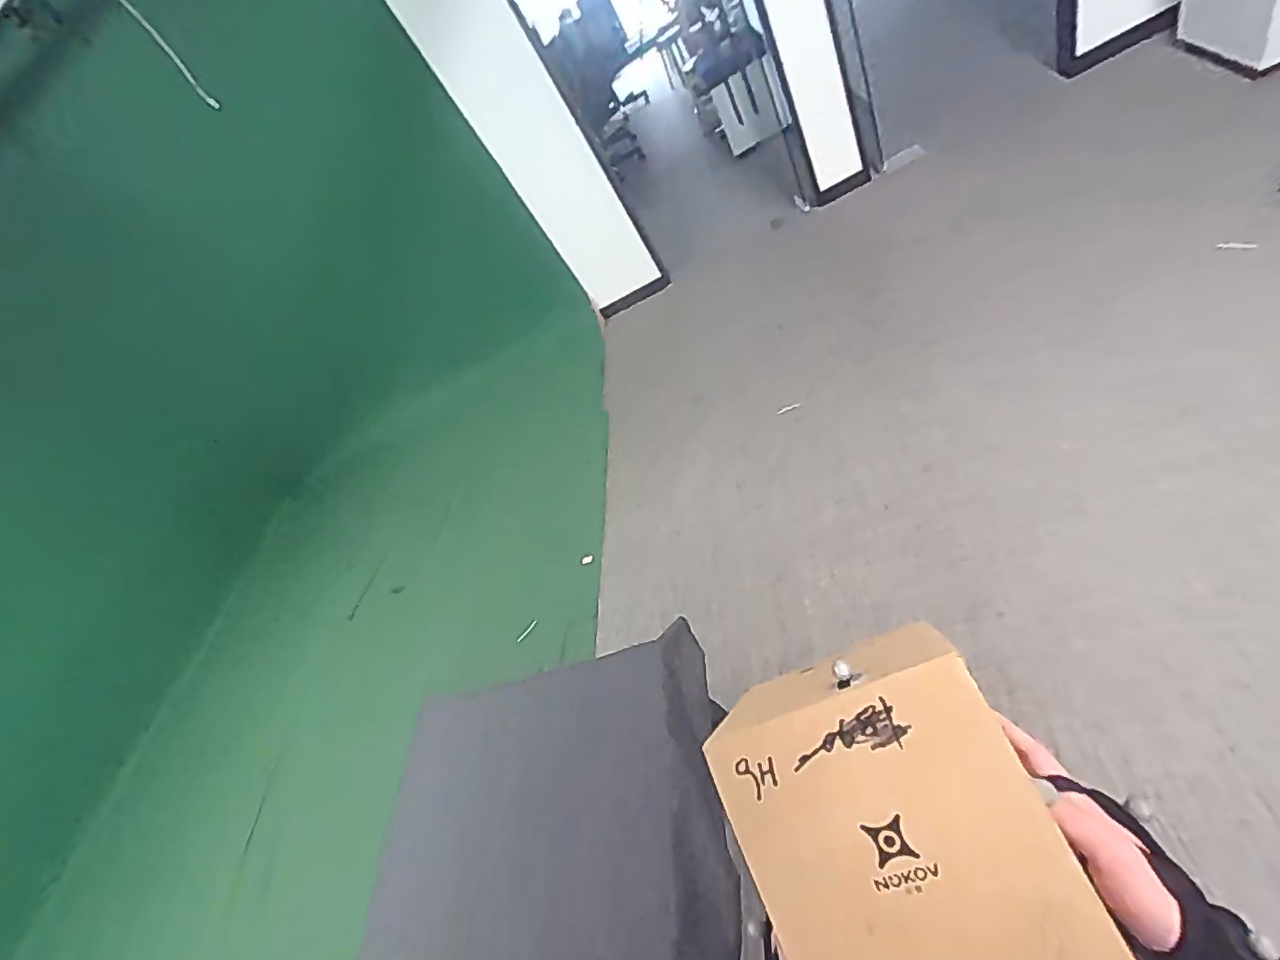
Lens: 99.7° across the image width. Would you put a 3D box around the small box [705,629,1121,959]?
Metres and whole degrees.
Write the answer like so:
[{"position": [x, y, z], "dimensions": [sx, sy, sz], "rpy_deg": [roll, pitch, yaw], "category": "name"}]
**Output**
[{"position": [0.170, 0.221, 0.375], "dimensions": [0.168, 0.176, 0.179], "rpy_deg": [-27, 73, 15], "category": "small box"}]
